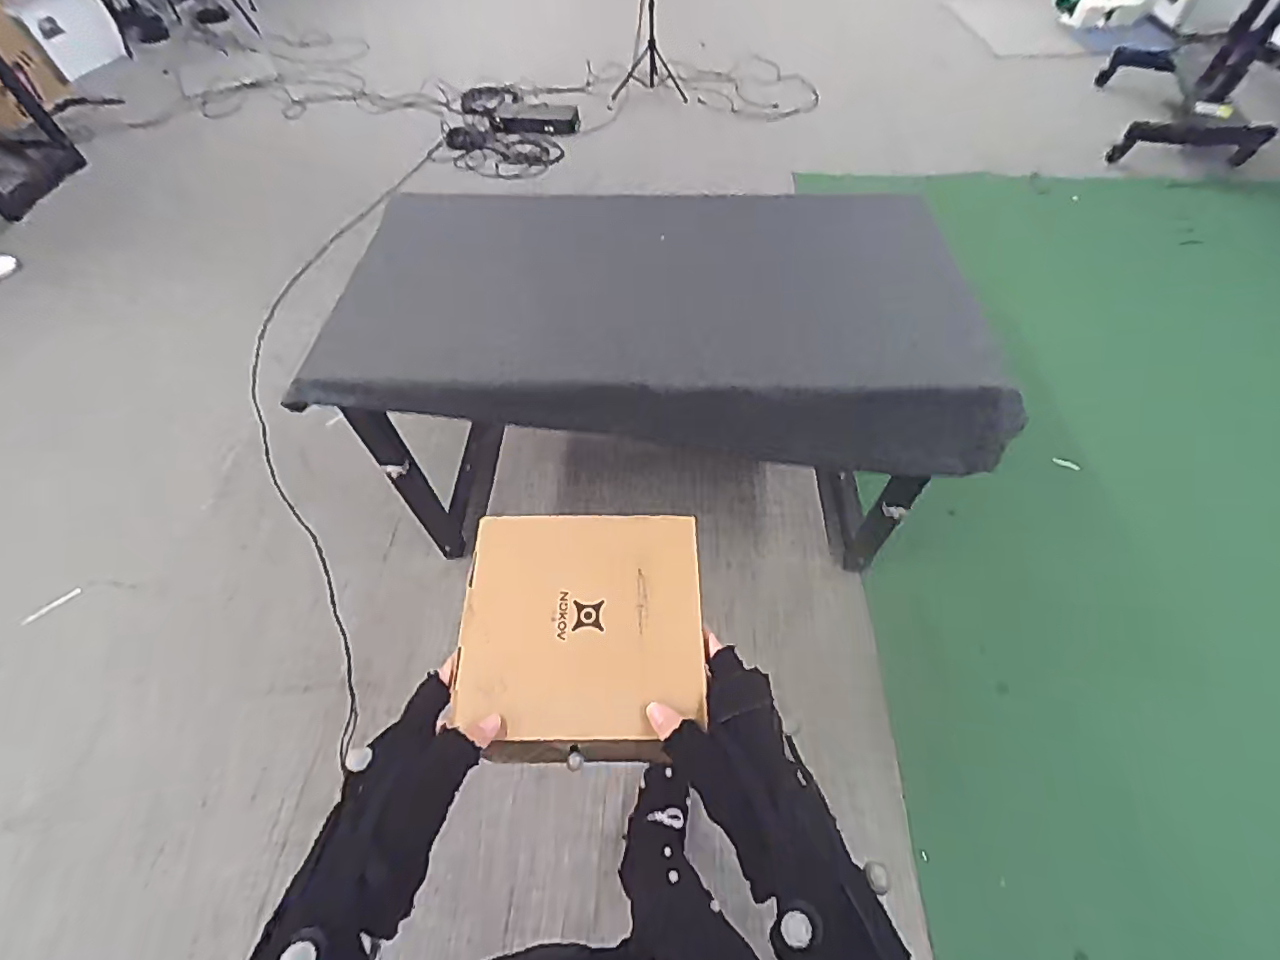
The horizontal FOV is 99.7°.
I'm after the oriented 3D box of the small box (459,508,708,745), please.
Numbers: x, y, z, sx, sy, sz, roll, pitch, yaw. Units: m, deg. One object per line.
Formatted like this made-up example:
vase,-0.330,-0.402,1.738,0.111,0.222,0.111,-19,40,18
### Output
small box,-0.043,0.136,0.481,0.179,0.176,0.168,0,59,-3
